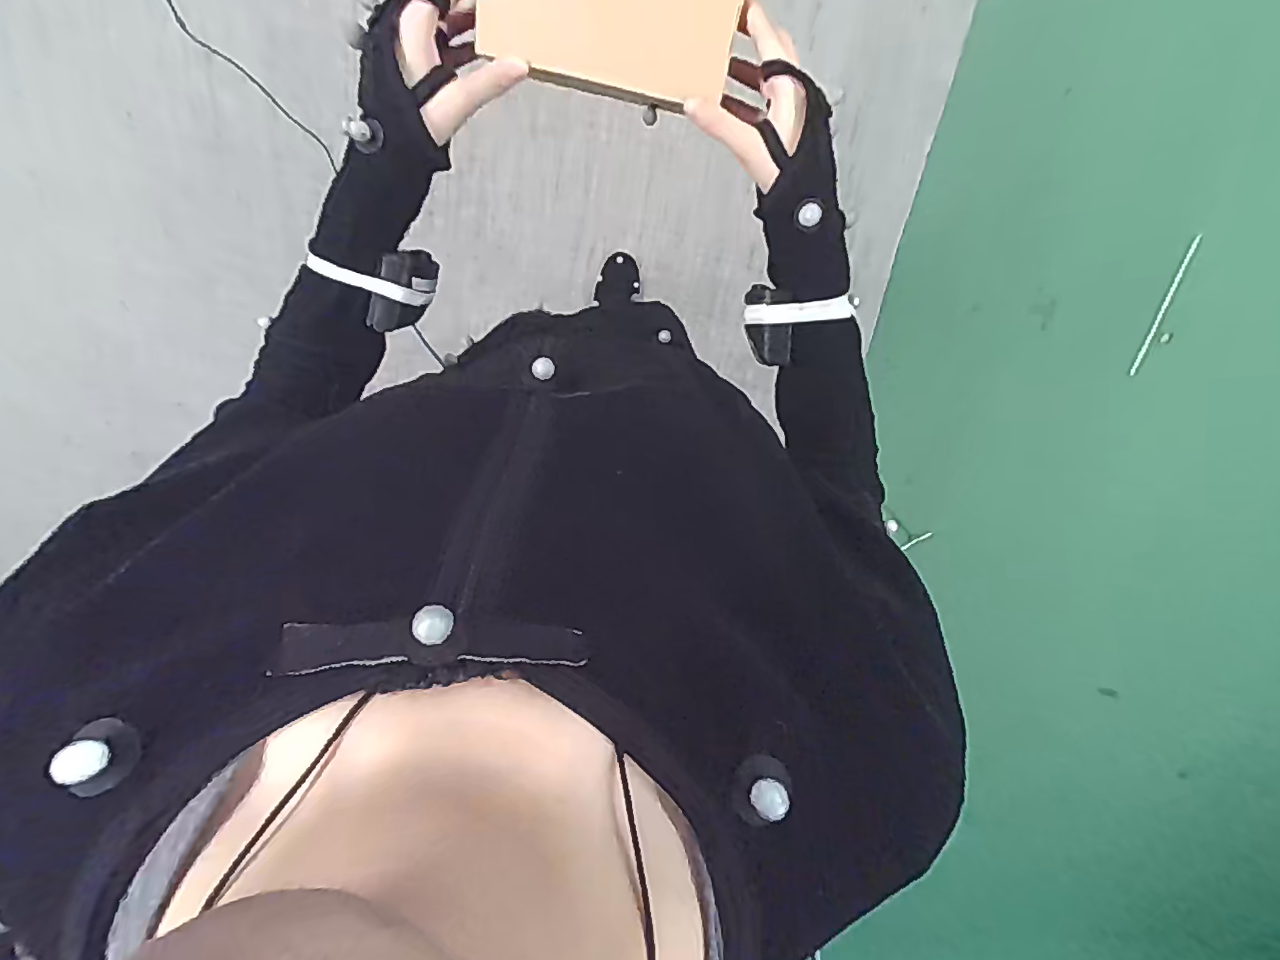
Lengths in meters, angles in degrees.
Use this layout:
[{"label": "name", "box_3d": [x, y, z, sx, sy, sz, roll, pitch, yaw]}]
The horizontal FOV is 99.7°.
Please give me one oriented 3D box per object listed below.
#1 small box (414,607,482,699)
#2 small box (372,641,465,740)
[{"label": "small box", "box_3d": [-0.585, 0.512, 1.613, 0.168, 0.176, 0.179, 18, 107, -11]}, {"label": "small box", "box_3d": [-0.588, 0.561, 1.455, 0.179, 0.176, 0.168, 18, 107, -11]}]
